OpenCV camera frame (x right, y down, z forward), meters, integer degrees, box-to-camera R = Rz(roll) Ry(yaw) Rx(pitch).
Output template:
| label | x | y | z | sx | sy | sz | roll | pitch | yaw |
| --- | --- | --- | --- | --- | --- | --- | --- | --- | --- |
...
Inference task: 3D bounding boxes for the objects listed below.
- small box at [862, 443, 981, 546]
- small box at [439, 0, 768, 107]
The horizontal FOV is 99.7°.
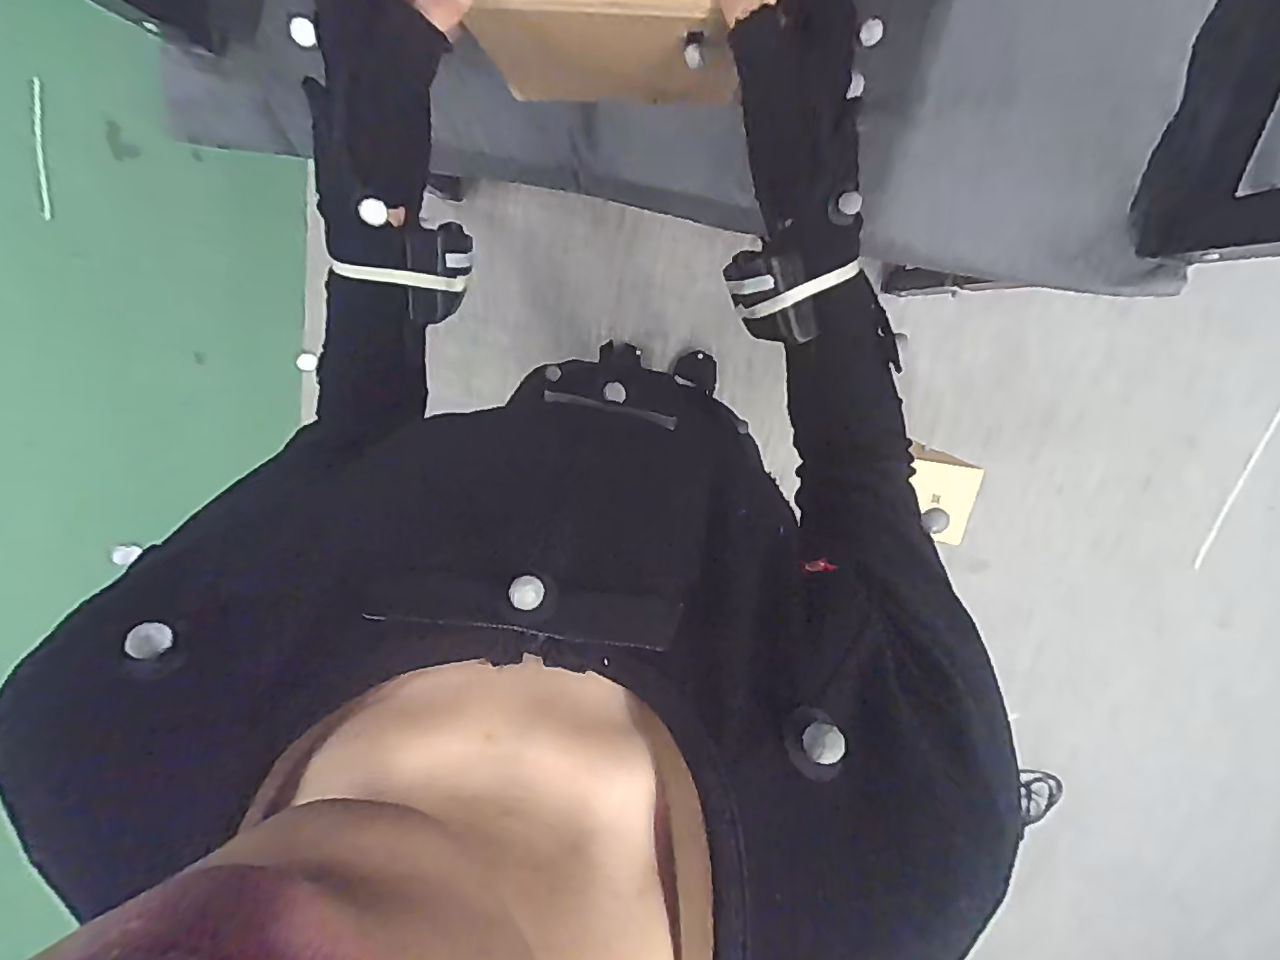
| label | x | y | z | sx | sy | sz | roll | pitch | yaw |
| --- | --- | --- | --- | --- | --- | --- | --- | --- | --- |
| small box | 0.624 | 0.028 | 1.226 | 0.168 | 0.176 | 0.179 | 9 | 106 | 0 |
| small box | -0.017 | -0.348 | 0.331 | 0.179 | 0.176 | 0.168 | 1 | 112 | -1 |
